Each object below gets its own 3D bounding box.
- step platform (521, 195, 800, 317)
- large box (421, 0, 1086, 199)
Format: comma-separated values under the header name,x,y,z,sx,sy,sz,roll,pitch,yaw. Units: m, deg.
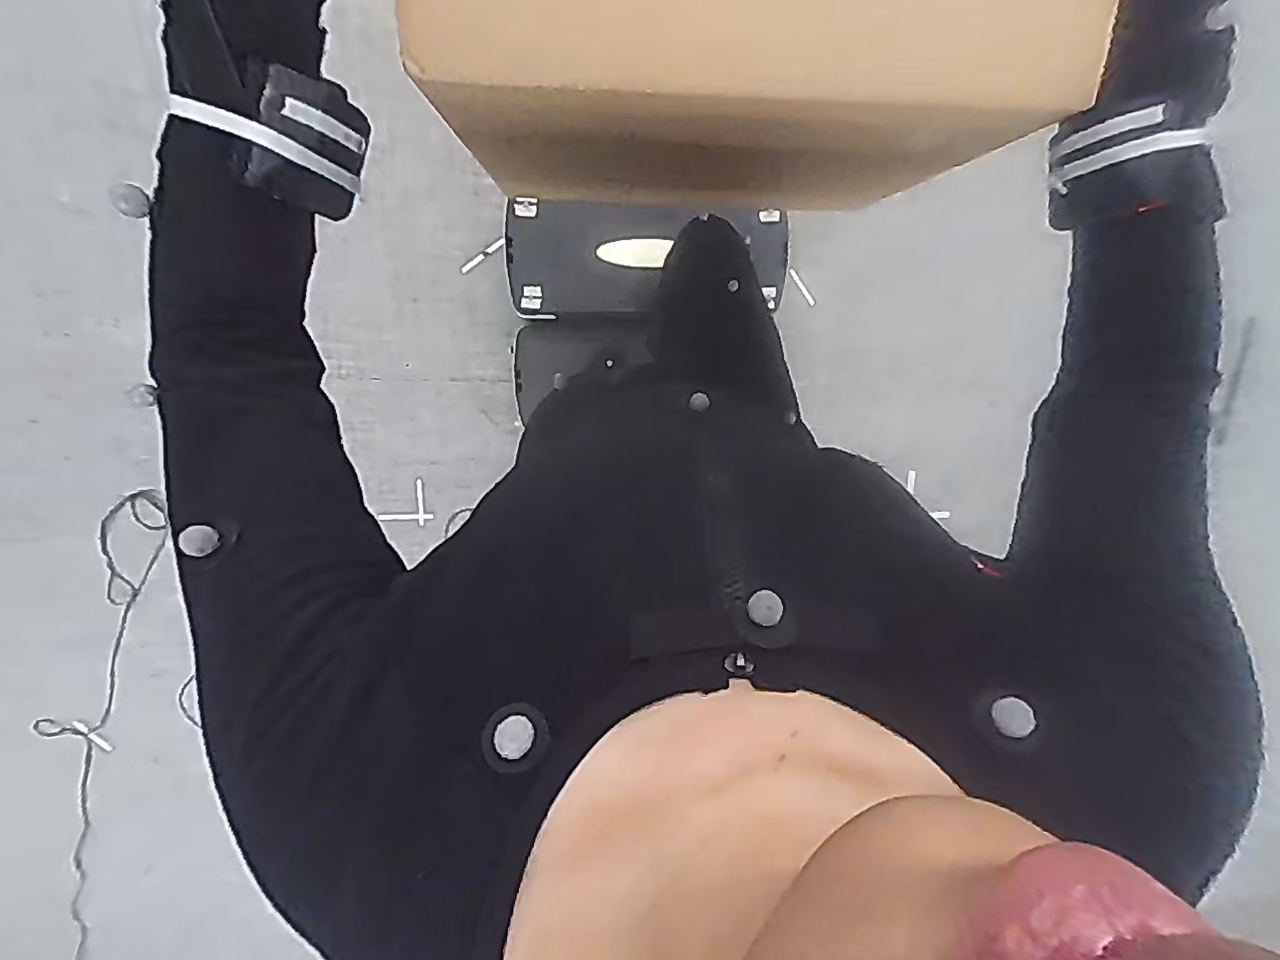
name,x,y,z,sx,sy,sz,roll,pitch,yaw
step platform,0.049,-0.564,1.359,0.684,0.204,0.286,-2,104,-5
large box,0.061,-0.426,0.428,0.408,0.320,0.320,0,107,-4
